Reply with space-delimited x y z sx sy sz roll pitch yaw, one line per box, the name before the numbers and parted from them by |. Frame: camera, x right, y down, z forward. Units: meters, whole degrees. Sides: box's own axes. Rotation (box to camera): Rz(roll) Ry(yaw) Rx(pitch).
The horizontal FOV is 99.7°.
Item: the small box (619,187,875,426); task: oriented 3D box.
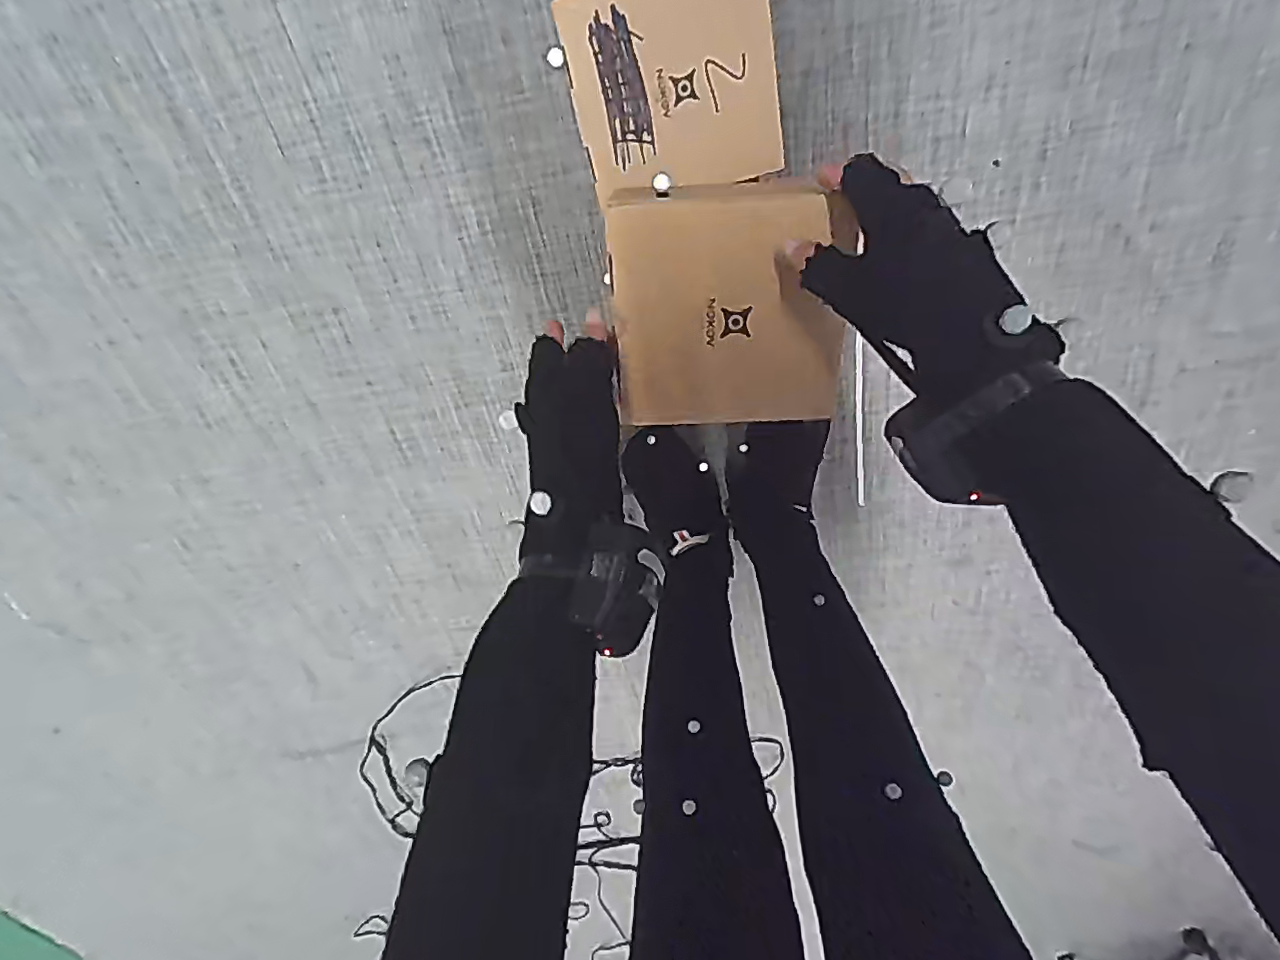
small box | 0.074 -0.158 0.473 0.179 0.176 0.168 1 121 3
